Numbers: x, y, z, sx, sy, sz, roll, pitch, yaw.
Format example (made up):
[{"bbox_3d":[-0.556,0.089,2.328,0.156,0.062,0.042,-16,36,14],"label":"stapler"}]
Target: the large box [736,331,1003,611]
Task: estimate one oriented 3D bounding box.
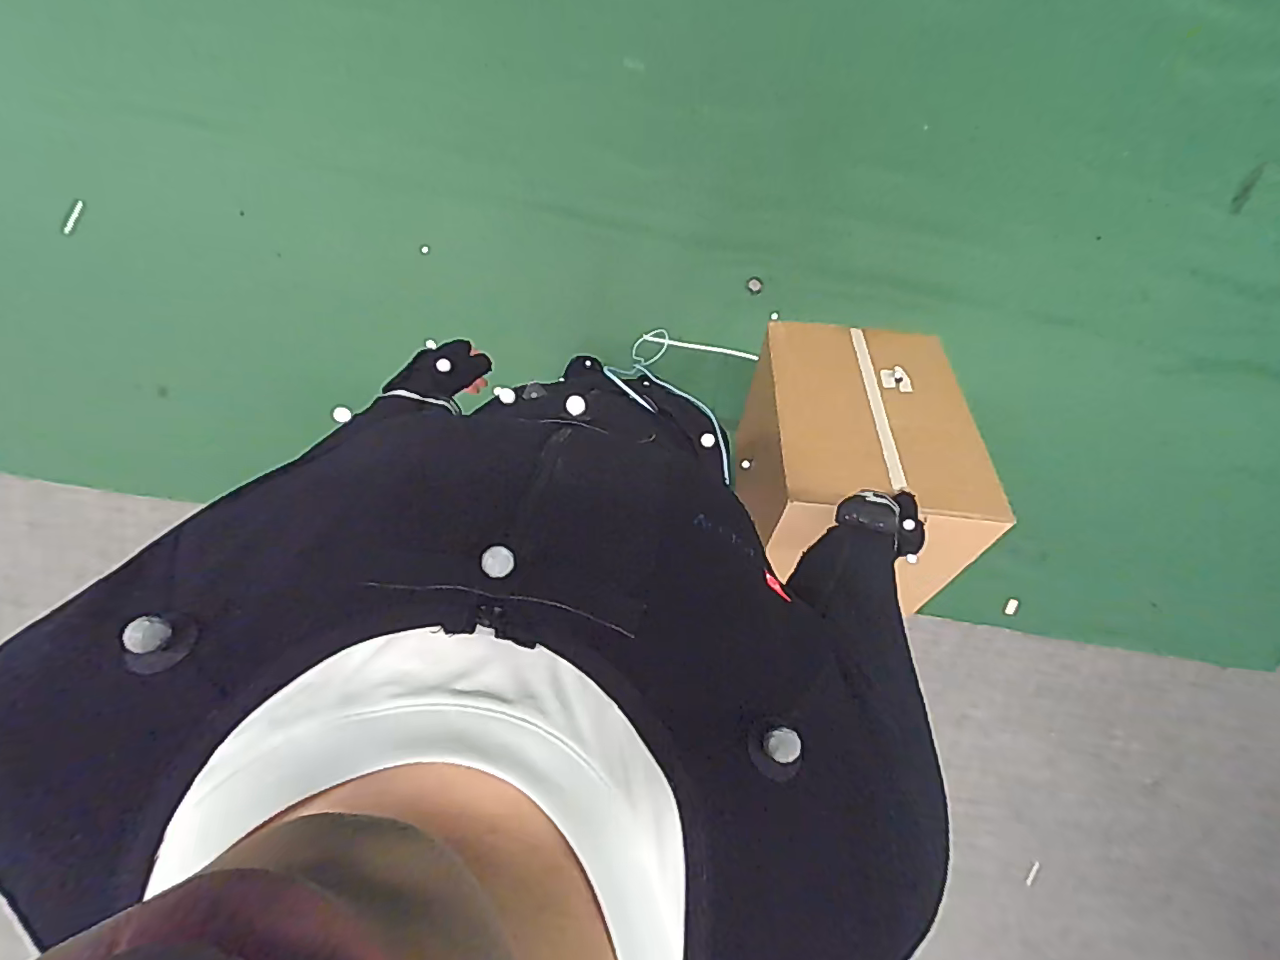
[{"bbox_3d":[0.361,-0.014,0.989,0.320,0.408,0.320,6,142,-1],"label":"large box"}]
